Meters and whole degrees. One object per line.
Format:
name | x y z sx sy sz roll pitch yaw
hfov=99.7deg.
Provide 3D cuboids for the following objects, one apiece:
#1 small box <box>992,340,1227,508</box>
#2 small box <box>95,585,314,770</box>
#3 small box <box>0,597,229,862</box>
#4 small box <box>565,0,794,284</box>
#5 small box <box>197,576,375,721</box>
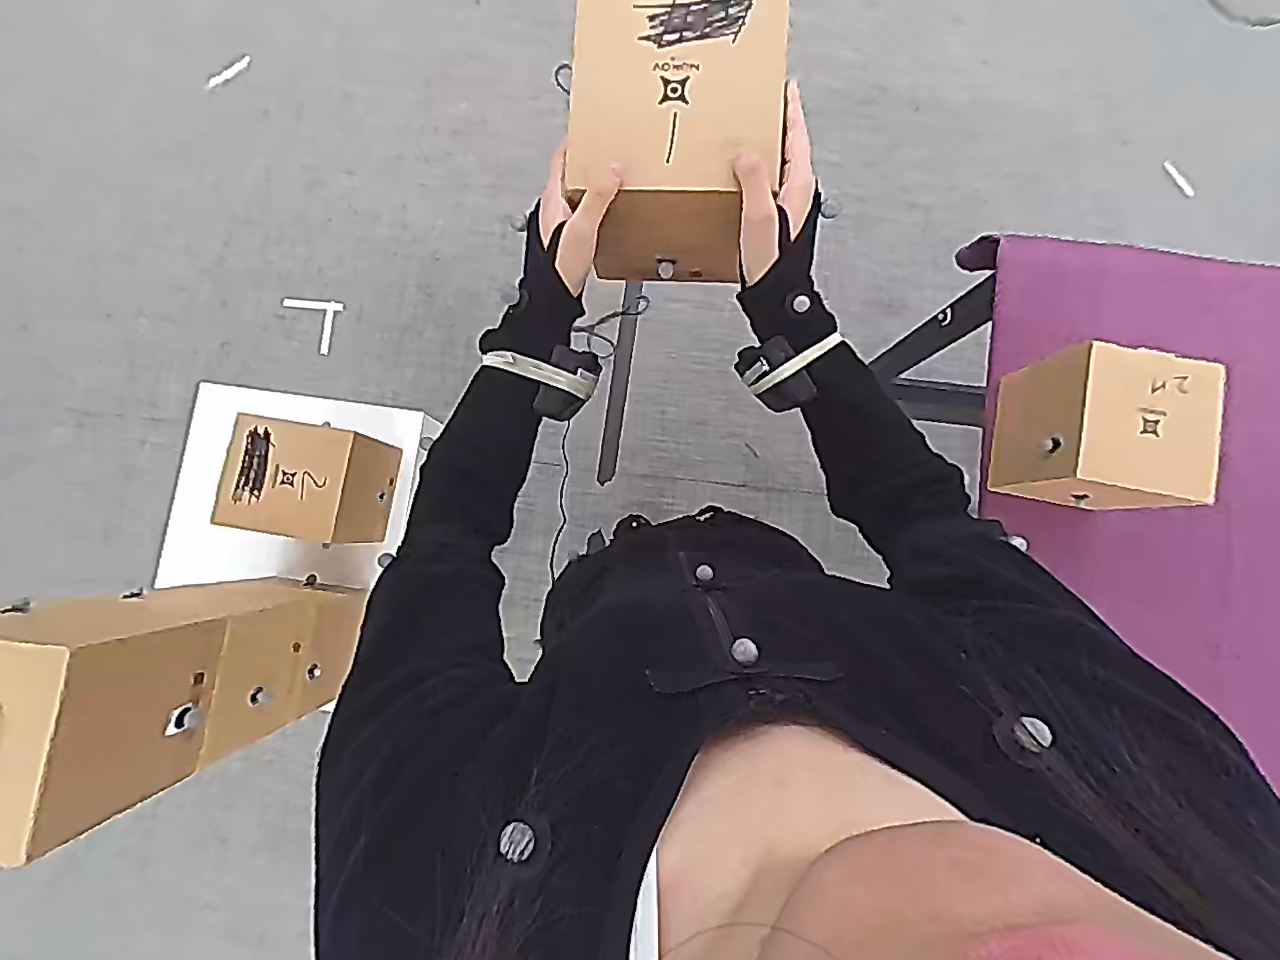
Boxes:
small box | 0.610 -0.063 0.725 0.168 0.176 0.179 11 84 0
small box | -0.534 0.223 0.655 0.179 0.176 0.168 7 84 0
small box | -0.534 0.205 0.493 0.179 0.176 0.168 6 85 -1
small box | 0.036 -0.299 0.487 0.168 0.176 0.179 4 88 5
small box | -0.537 0.241 0.816 0.179 0.176 0.168 8 85 1
